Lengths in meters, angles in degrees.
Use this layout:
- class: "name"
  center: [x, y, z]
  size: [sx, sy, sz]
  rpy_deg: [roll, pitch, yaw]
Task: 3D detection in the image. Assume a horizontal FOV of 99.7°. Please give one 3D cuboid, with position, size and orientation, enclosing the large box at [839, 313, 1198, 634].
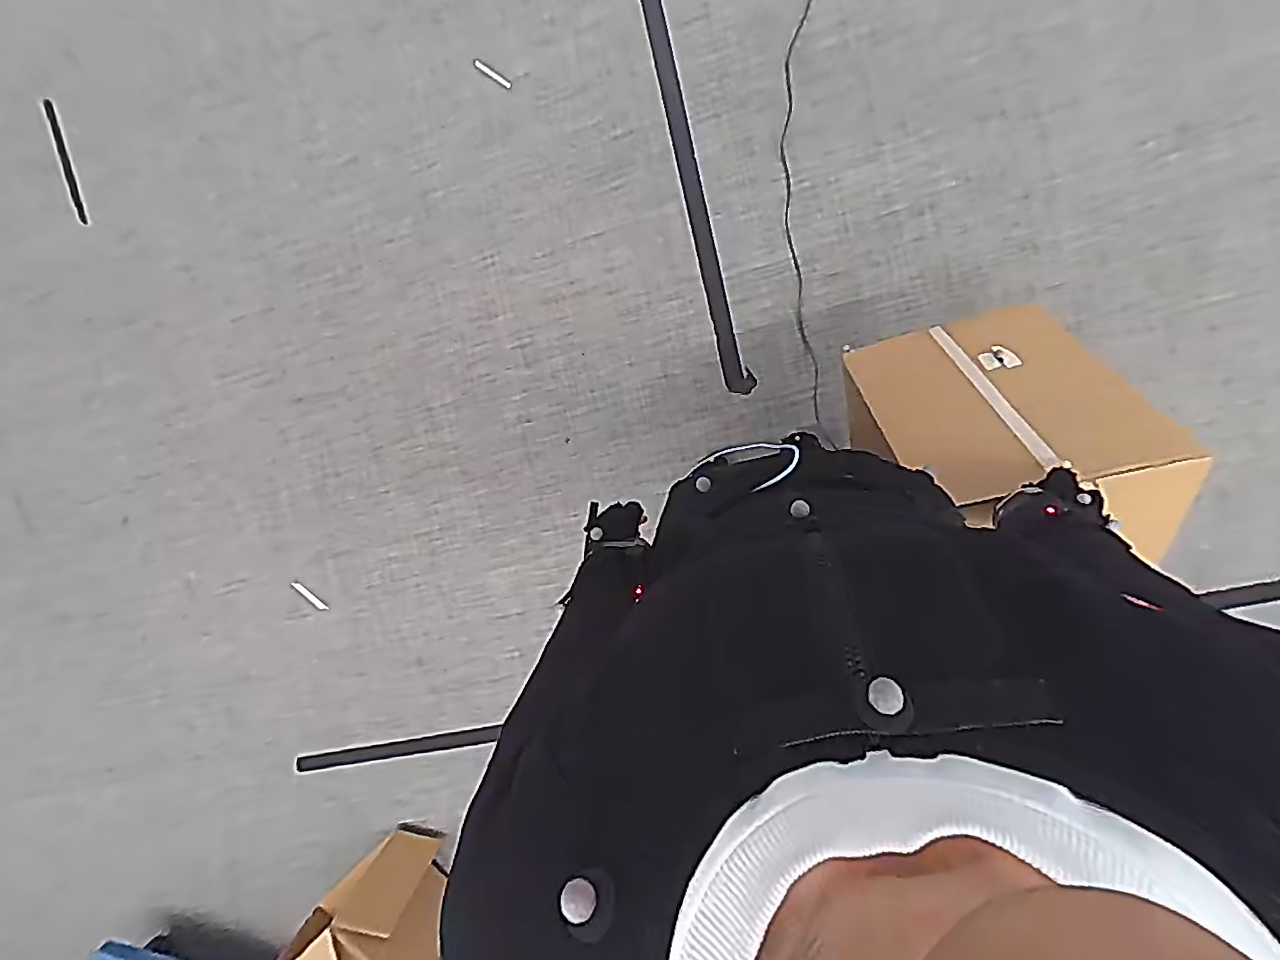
- class: "large box"
  center: [0.559, -0.018, 0.905]
  size: [0.320, 0.408, 0.320]
  rpy_deg: [-13, 130, 10]
